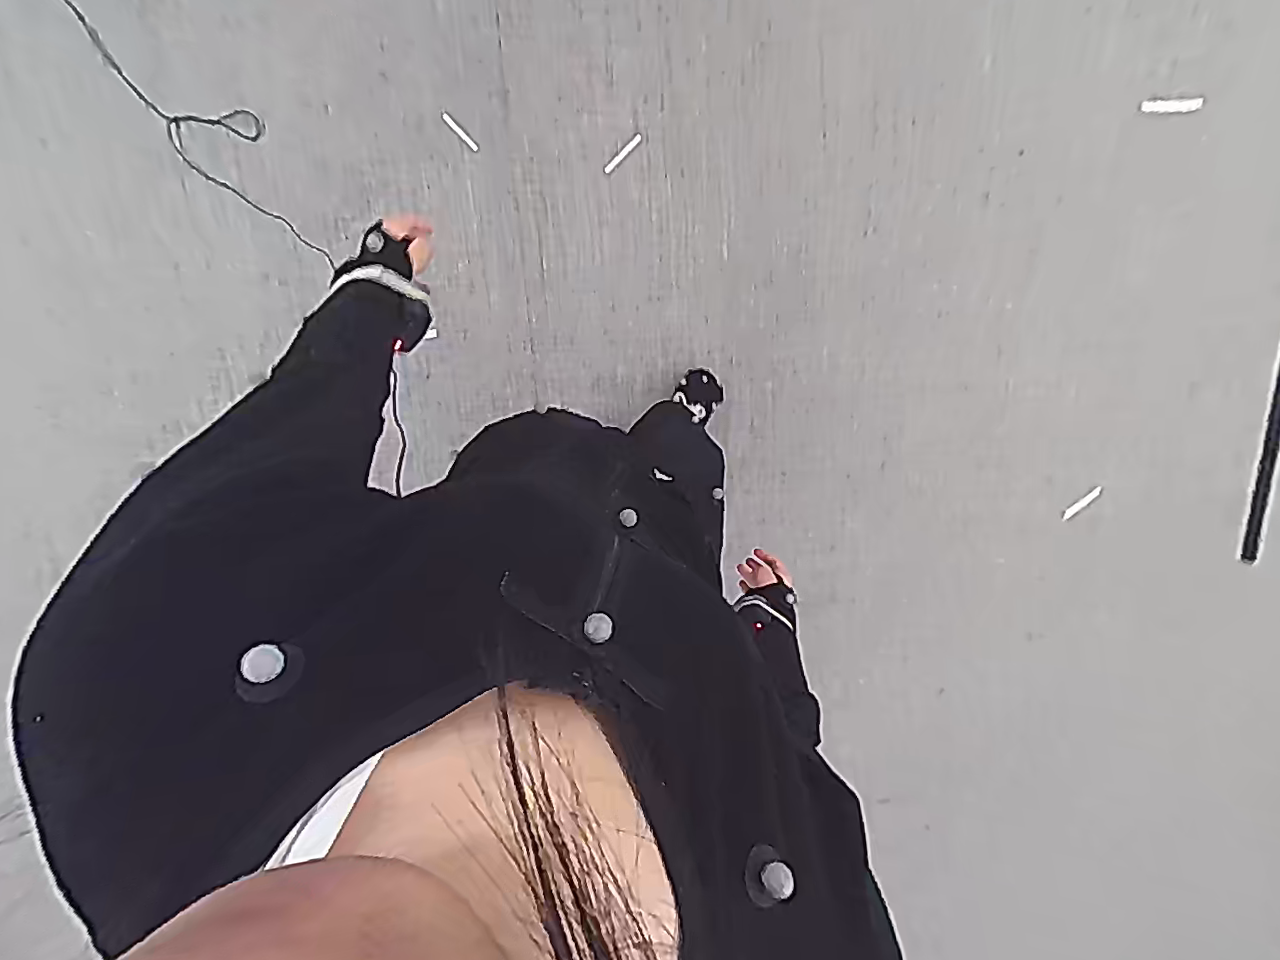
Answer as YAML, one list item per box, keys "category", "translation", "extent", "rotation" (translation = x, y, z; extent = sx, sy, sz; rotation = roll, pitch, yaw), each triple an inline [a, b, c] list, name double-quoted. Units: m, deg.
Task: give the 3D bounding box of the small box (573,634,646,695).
- category: "small box"
  translation: [-0.072, 0.504, 1.370]
  extent: [0.168, 0.176, 0.179]
  rotation: [-5, 103, 1]

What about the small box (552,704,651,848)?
- category: "small box"
  translation: [-0.068, 0.566, 1.049]
  extent: [0.168, 0.176, 0.179]
  rotation: [-6, 102, 1]

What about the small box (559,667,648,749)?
- category: "small box"
  translation: [-0.074, 0.540, 1.212]
  extent: [0.179, 0.176, 0.168]
  rotation: [-6, 101, 1]
